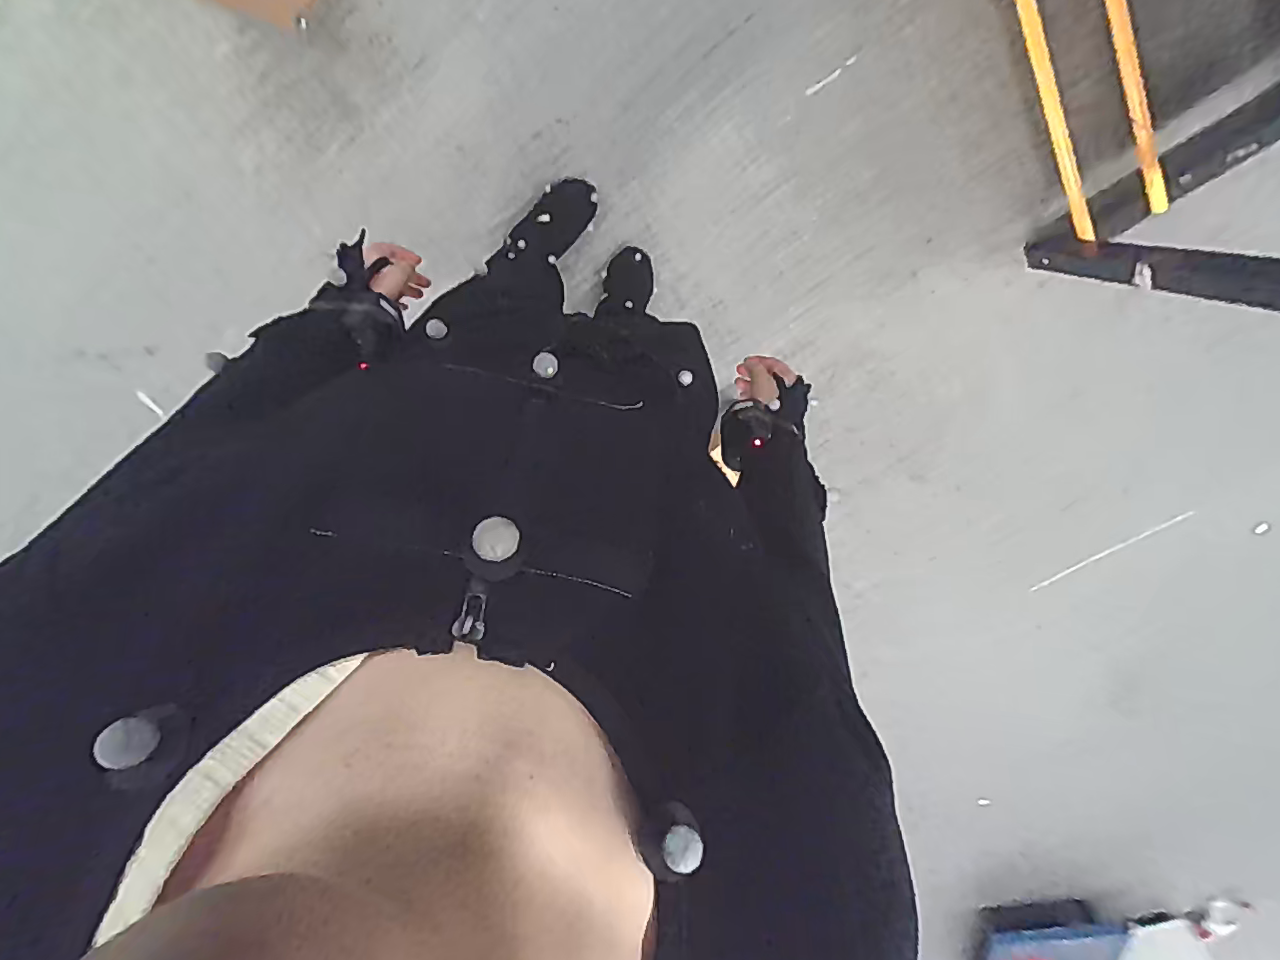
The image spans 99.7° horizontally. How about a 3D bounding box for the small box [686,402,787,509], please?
[{"bbox_3d":[0.232,-0.067,1.348,0.179,0.176,0.168,-37,113,16],"label":"small box"}]
